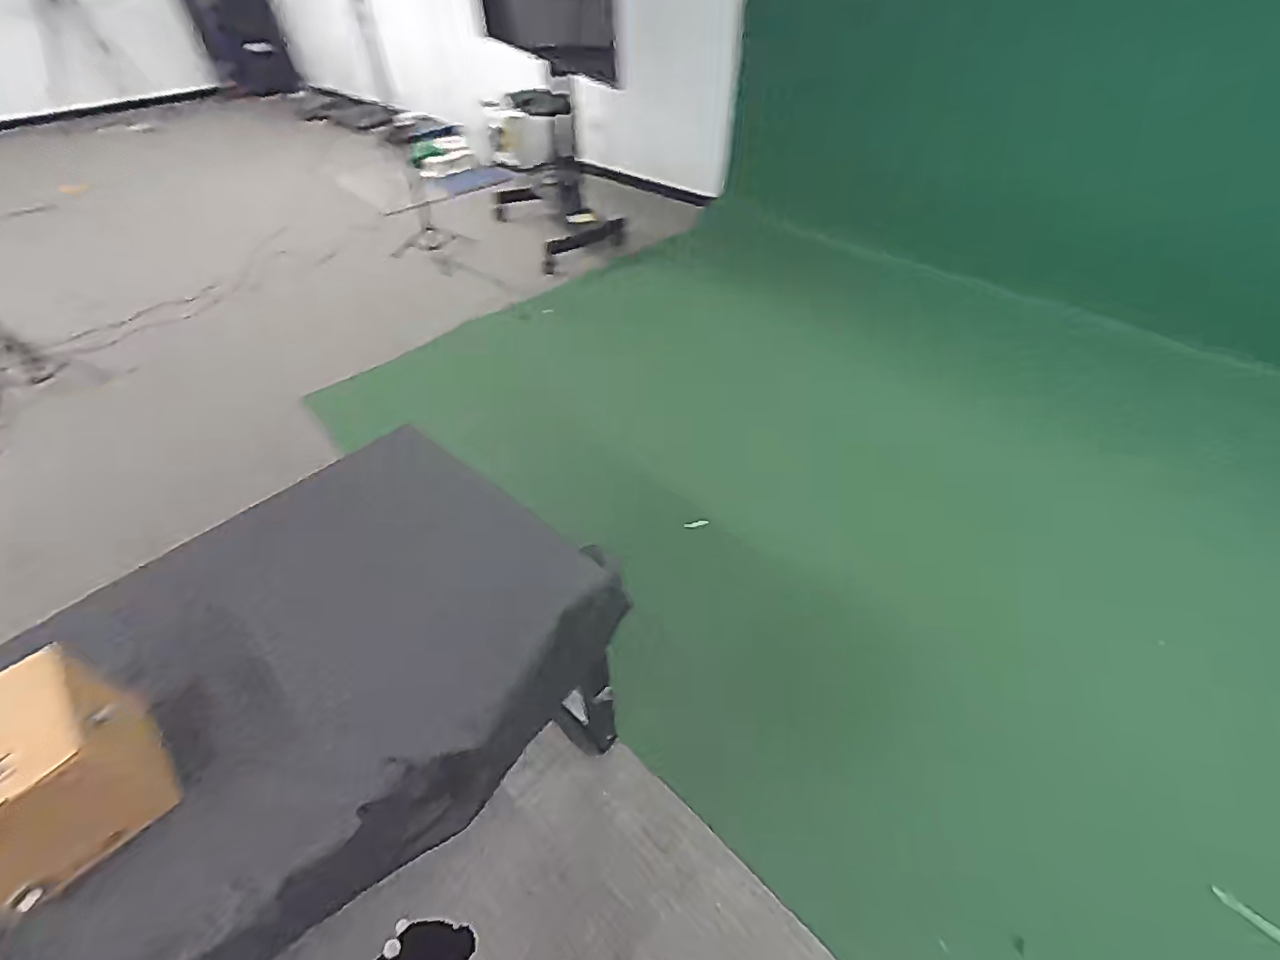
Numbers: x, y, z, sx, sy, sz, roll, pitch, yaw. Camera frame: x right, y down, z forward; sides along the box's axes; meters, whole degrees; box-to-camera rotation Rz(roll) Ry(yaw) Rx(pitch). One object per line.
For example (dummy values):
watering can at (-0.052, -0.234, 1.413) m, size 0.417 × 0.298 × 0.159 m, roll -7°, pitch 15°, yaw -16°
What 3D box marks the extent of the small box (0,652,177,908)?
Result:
small box at (-0.680, 0.340, 0.612) m, size 0.179 × 0.176 × 0.168 m, roll 33°, pitch 54°, yaw 31°
